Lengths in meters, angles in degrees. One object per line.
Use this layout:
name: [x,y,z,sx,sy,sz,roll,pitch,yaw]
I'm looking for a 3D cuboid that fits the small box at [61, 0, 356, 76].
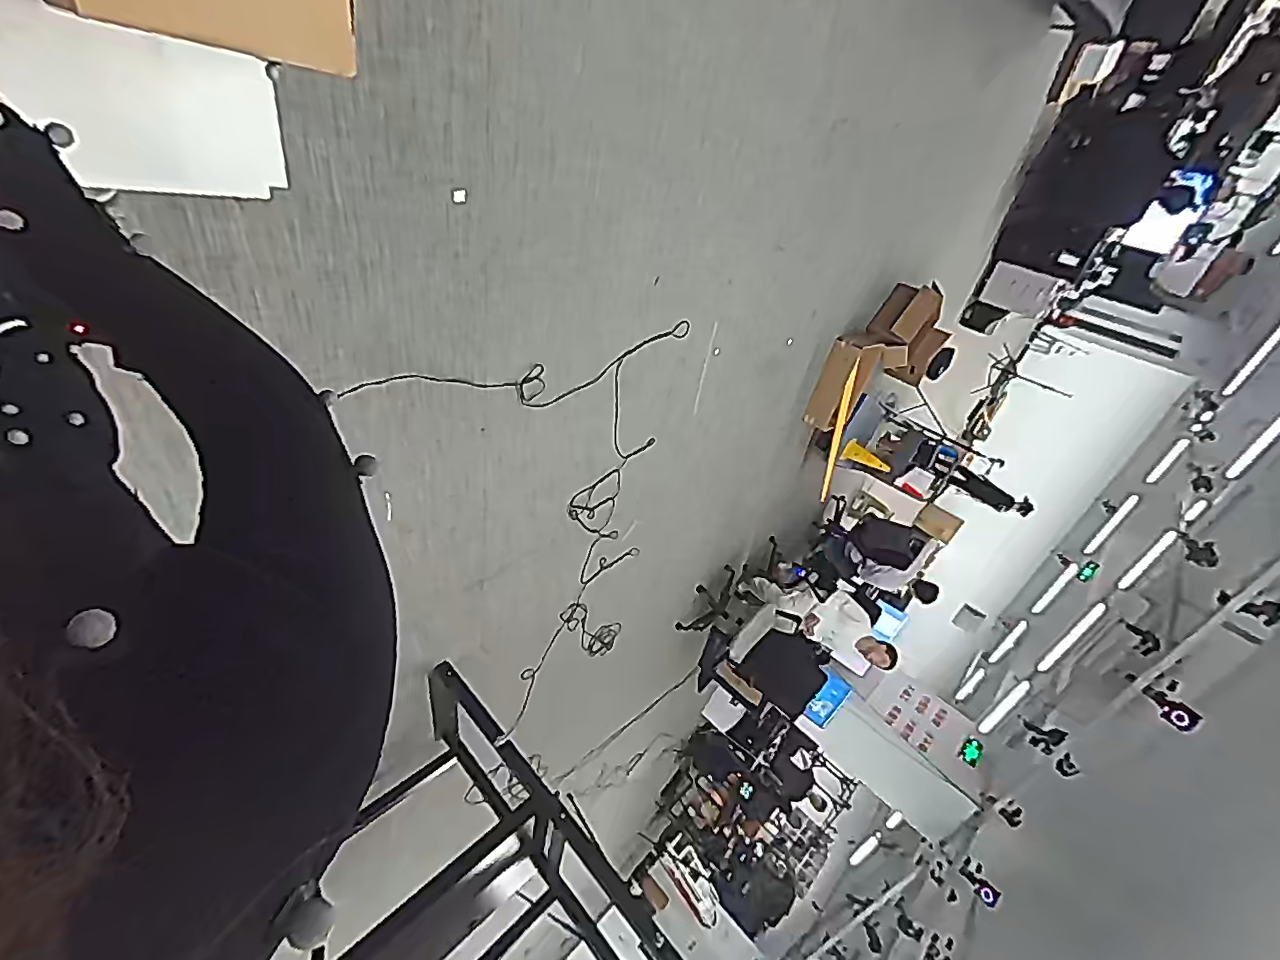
small box: [-0.338,-0.430,0.400,0.179,0.176,0.168,-20,136,-42]
